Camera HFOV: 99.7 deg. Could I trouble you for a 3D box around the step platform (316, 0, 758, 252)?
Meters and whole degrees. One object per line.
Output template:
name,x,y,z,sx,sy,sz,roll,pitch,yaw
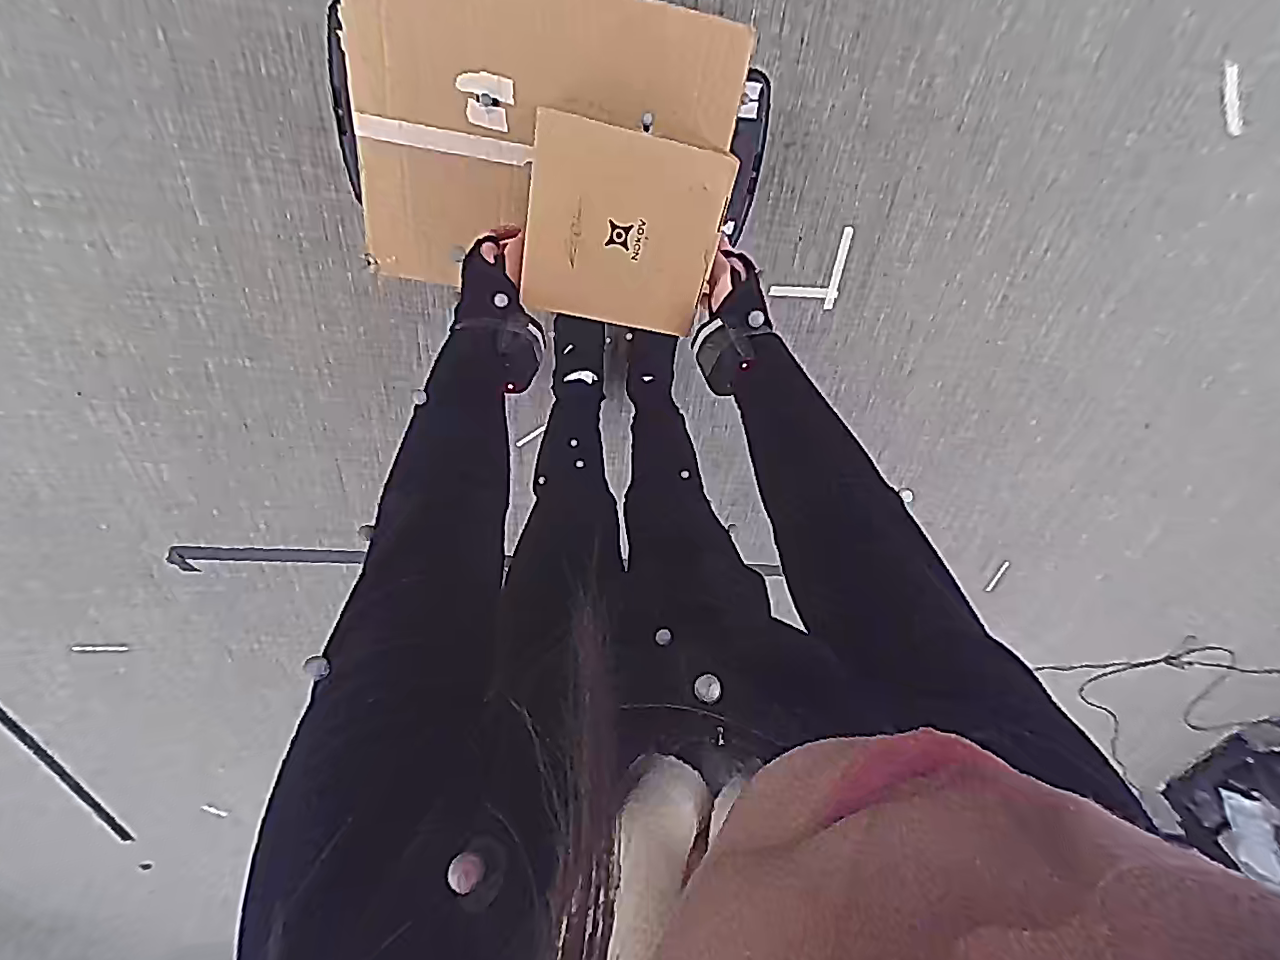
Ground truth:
step platform,-0.153,-0.570,0.916,0.684,0.204,0.286,8,124,-11

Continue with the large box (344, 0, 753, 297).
large box,-0.111,-0.439,0.719,0.408,0.320,0.320,6,124,-9

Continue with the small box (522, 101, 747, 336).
small box,-0.017,-0.268,0.549,0.179,0.176,0.168,8,125,-11
